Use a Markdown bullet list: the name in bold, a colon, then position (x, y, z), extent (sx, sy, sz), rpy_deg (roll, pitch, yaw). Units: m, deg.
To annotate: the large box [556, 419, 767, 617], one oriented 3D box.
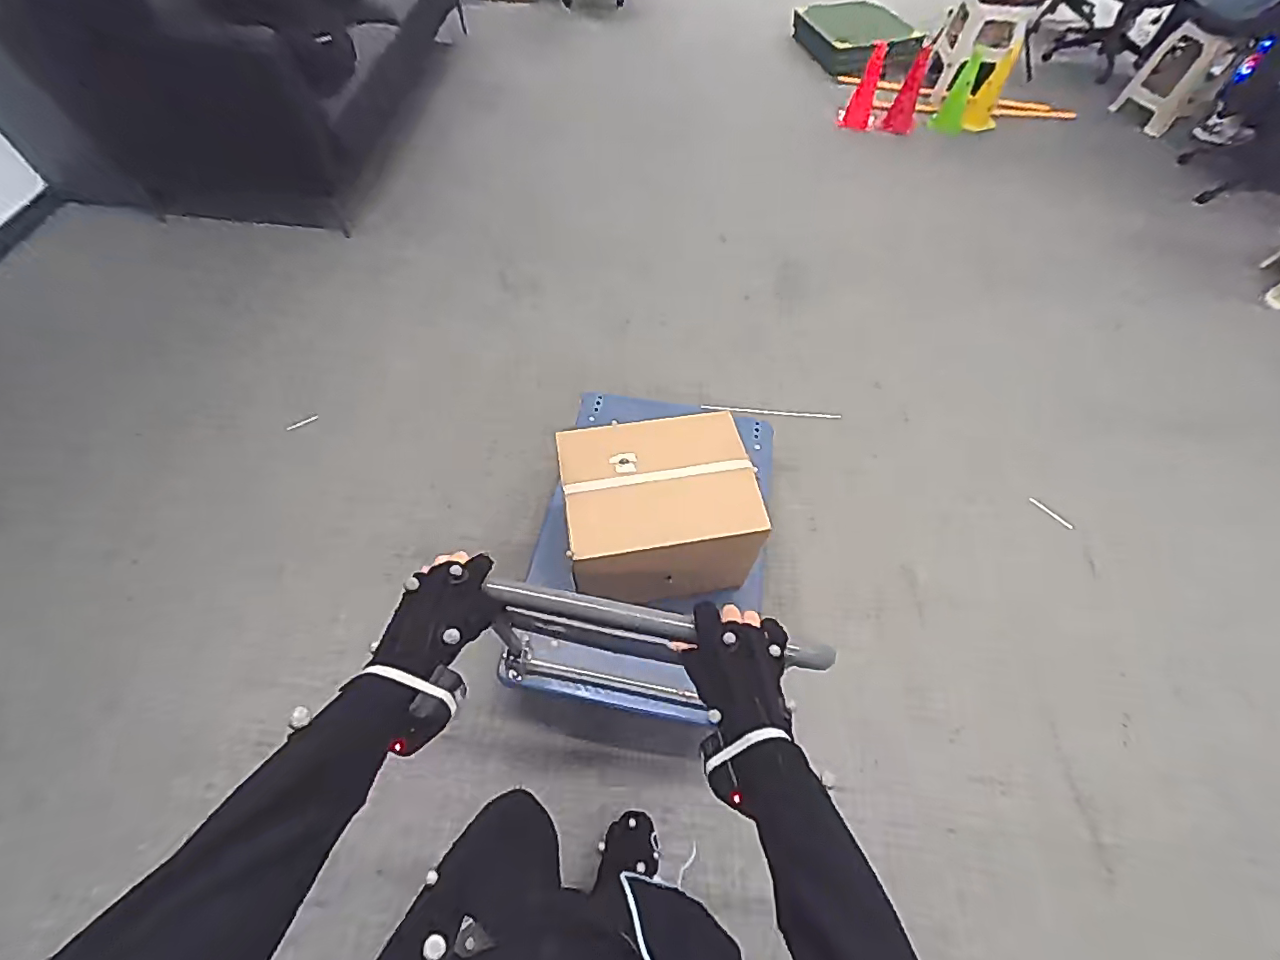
- **large box**: position (0.036, 0.096, 1.274), extent (0.408, 0.320, 0.320), rpy_deg (-9, 57, -7)
